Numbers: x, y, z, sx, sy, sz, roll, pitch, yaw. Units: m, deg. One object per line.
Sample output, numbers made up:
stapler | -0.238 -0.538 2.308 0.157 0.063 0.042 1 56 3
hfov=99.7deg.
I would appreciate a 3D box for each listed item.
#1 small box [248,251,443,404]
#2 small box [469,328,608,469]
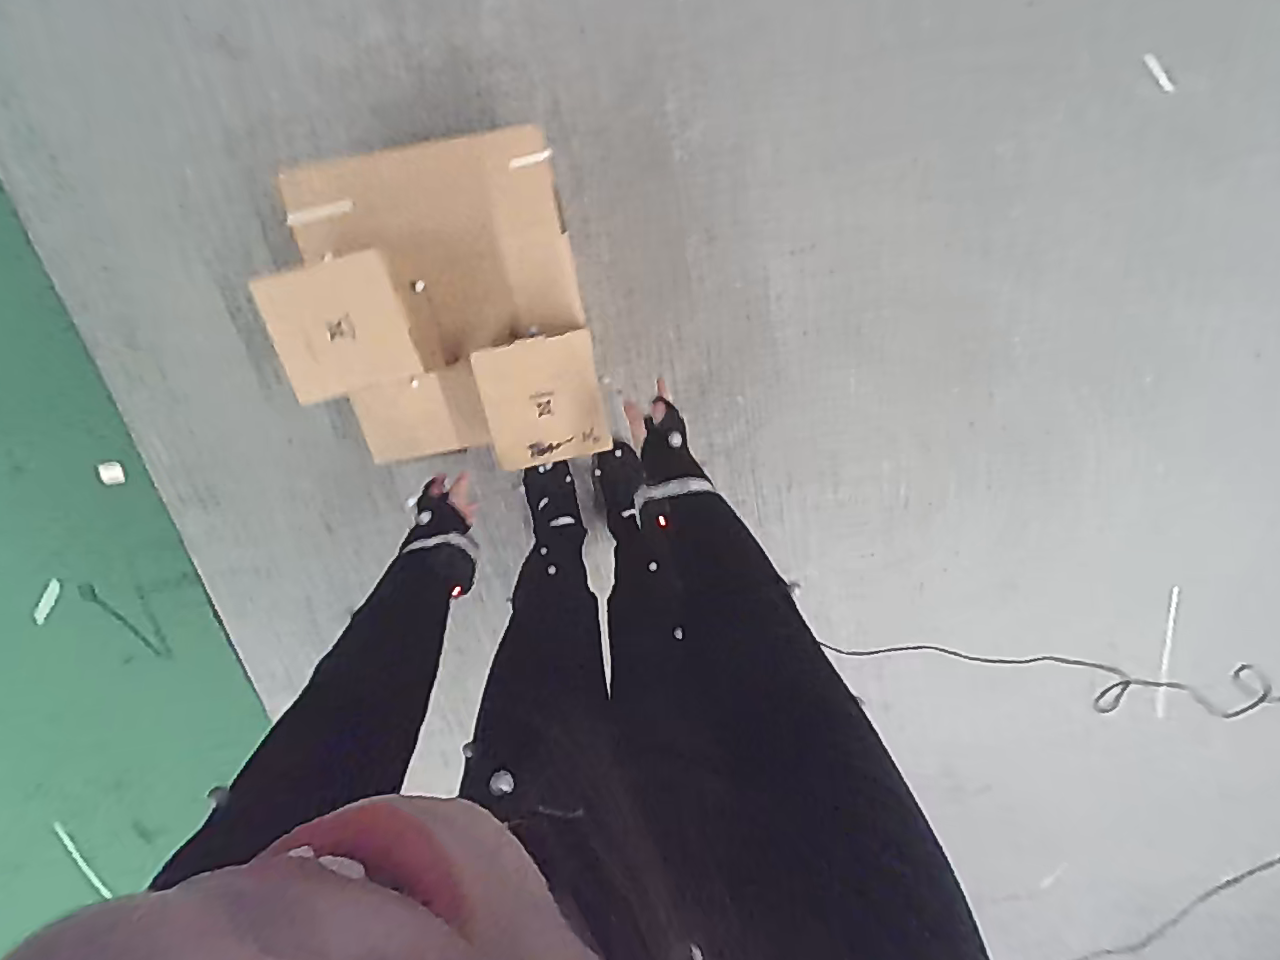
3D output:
small box | -0.404 -0.220 0.785 0.179 0.176 0.168 -14 106 0
small box | -0.149 -0.132 0.834 0.168 0.176 0.179 -11 107 -3
